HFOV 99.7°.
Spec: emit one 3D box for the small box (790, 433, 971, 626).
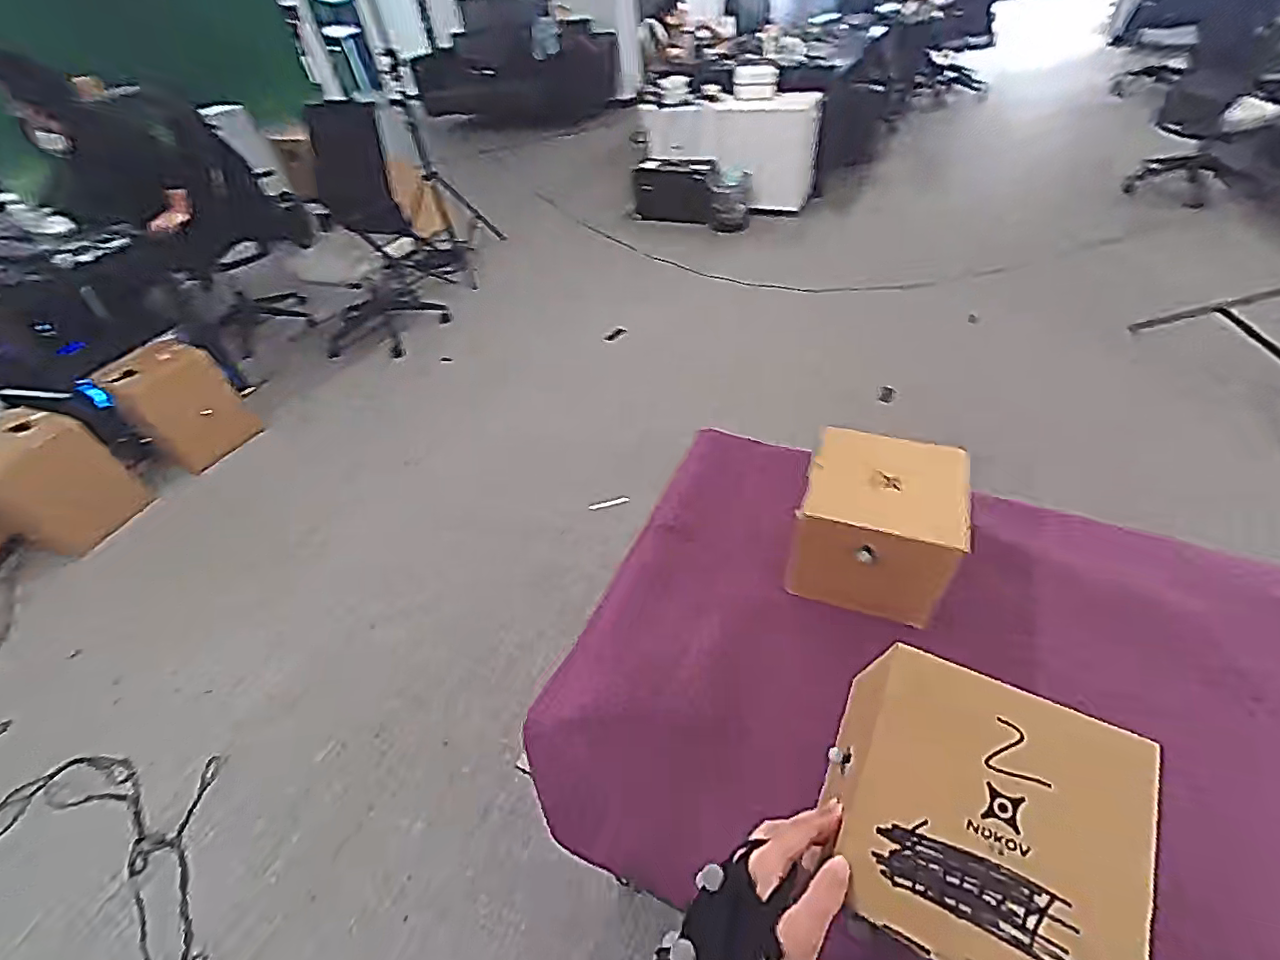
[{"bbox_3d":[0.307,0.066,0.707,0.179,0.176,0.168,13,48,20],"label":"small box"}]
